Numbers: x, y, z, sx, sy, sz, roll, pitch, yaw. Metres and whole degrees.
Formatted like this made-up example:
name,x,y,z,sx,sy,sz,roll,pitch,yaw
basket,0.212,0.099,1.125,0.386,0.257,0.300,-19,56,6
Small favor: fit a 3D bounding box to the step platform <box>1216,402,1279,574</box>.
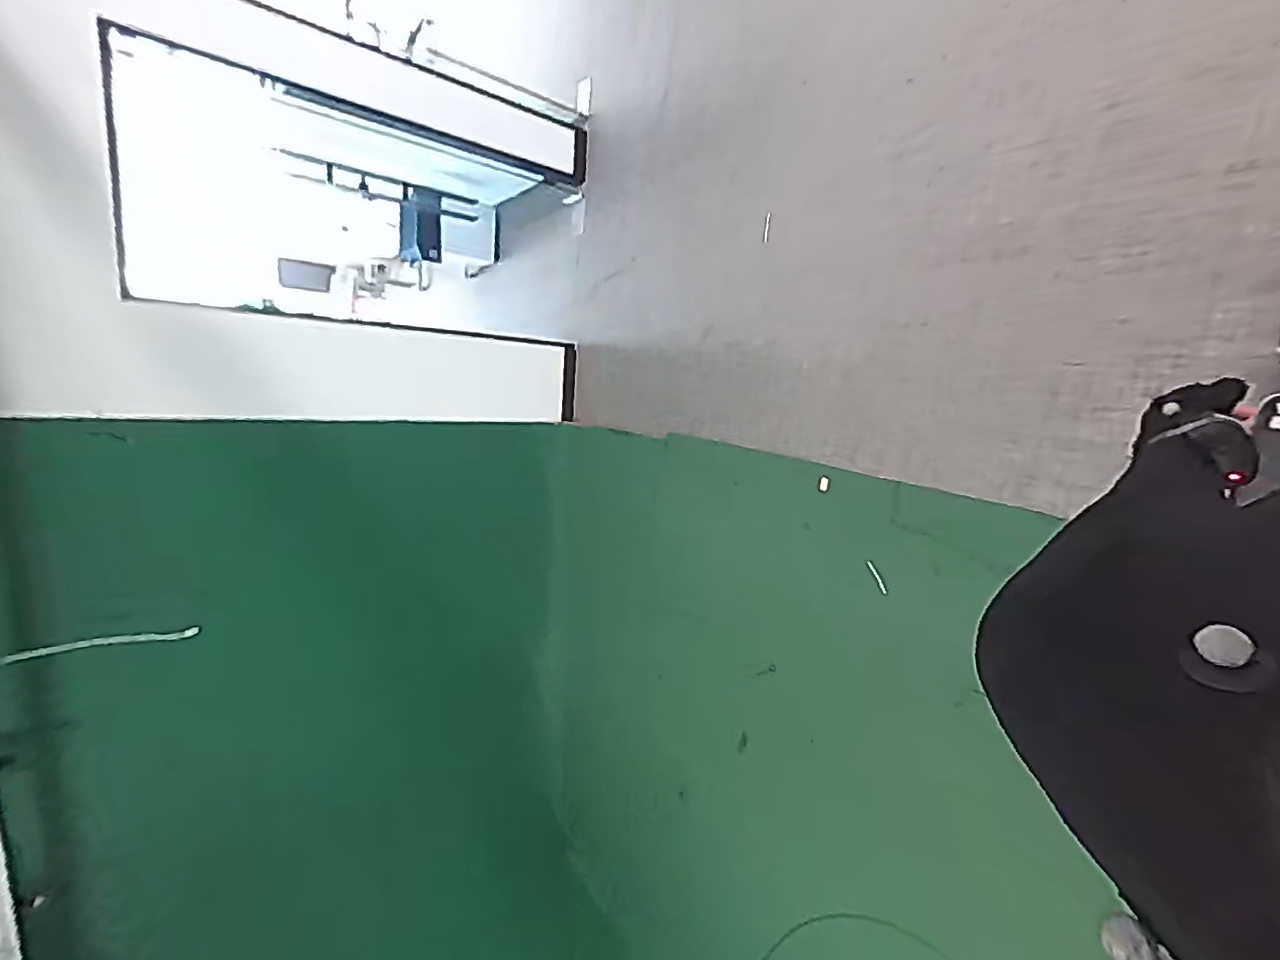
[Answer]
name,x,y,z,sx,sy,sz,roll,pitch,yaw
step platform,1.273,0.060,0.713,0.684,0.204,0.286,17,106,50
